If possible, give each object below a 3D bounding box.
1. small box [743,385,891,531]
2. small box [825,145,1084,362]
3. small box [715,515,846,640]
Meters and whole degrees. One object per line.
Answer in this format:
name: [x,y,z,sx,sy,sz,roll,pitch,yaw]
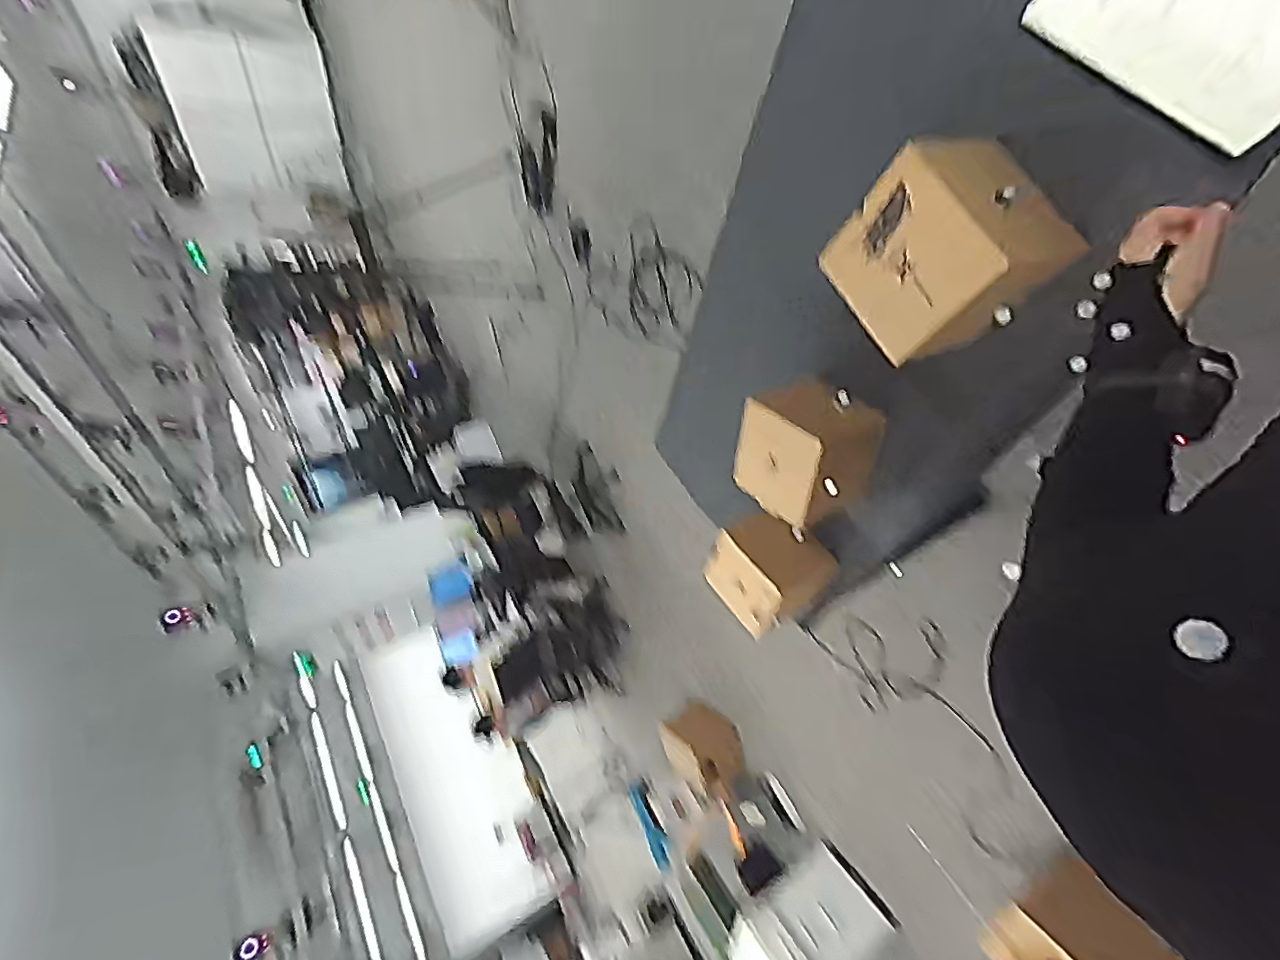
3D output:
small box: [0.305,-0.046,0.946,0.168,0.176,0.179,40,139,43]
small box: [0.374,-0.274,0.659,0.179,0.176,0.168,61,152,17]
small box: [0.289,0.194,1.131,0.179,0.176,0.168,49,146,34]
